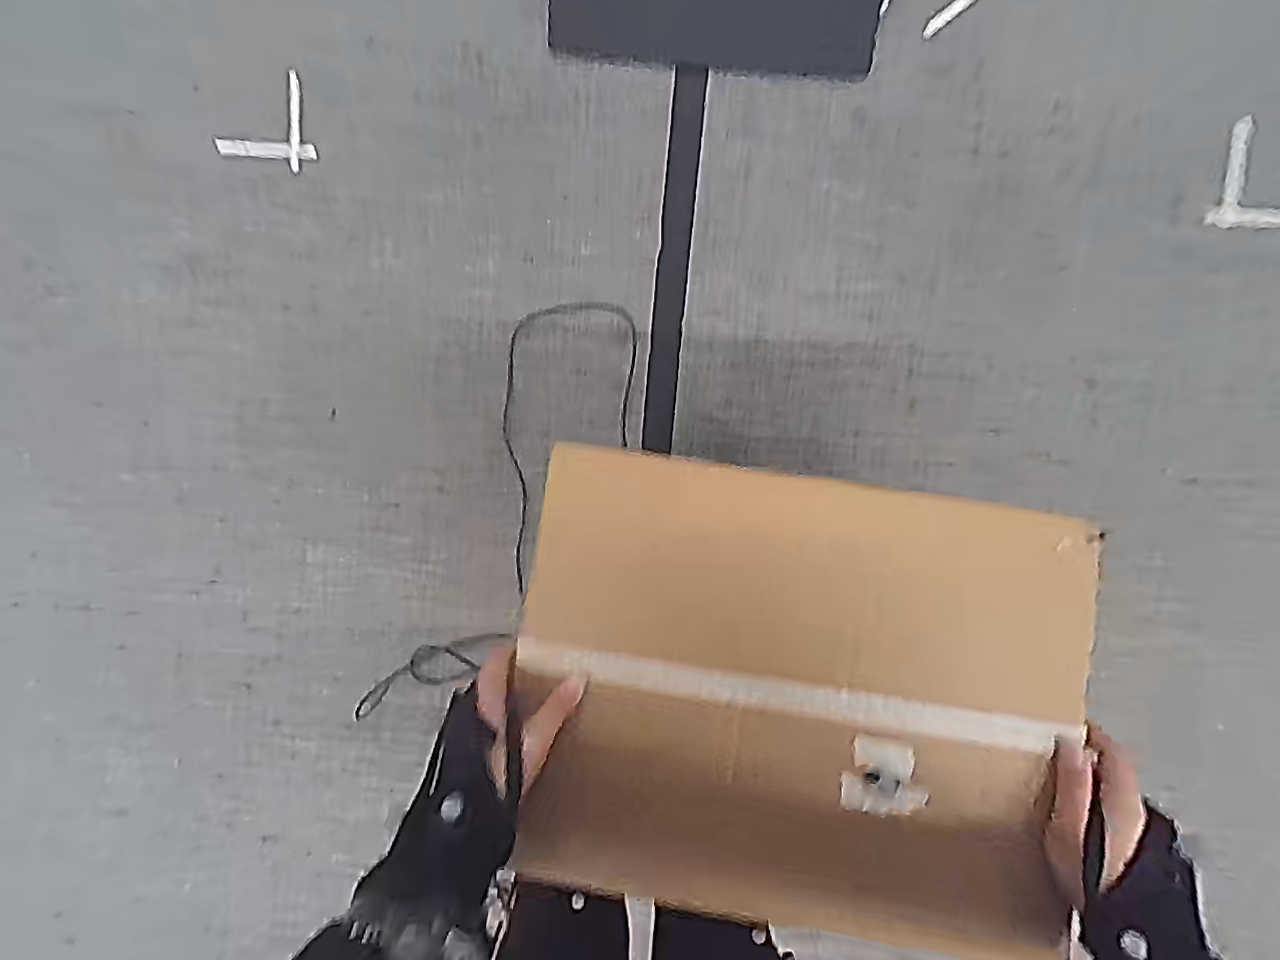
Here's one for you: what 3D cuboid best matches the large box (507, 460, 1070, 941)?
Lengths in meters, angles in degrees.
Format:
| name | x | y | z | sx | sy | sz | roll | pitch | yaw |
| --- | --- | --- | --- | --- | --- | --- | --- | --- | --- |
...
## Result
| name | x | y | z | sx | sy | sz | roll | pitch | yaw |
| --- | --- | --- | --- | --- | --- | --- | --- | --- | --- |
| large box | 0.116 | 0.172 | 0.556 | 0.408 | 0.320 | 0.320 | 8 | 86 | 2 |

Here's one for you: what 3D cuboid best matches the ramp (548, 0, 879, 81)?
| name | x | y | z | sx | sy | sz | roll | pitch | yaw |
| --- | --- | --- | --- | --- | --- | --- | --- | --- | --- |
| ramp | 0.140 | -1.097 | 0.674 | 0.509 | 0.206 | 0.991 | 2 | 97 | -2 |
